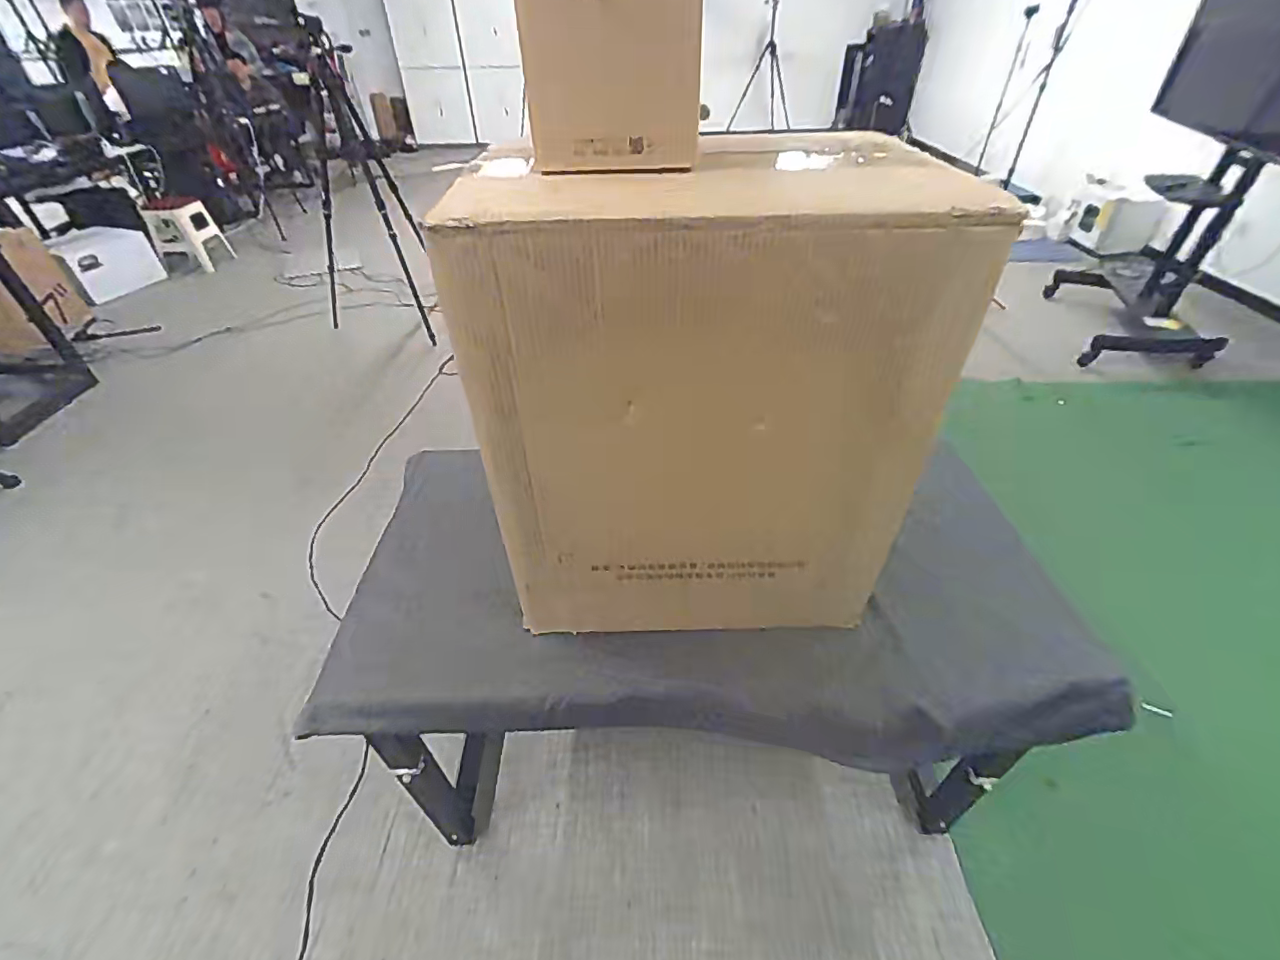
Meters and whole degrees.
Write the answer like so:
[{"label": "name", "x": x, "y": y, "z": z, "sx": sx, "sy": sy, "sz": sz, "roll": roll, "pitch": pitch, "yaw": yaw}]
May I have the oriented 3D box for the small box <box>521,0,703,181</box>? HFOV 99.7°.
[{"label": "small box", "x": -0.023, "y": -0.427, "z": 0.574, "sx": 0.168, "sy": 0.176, "sz": 0.179, "roll": -1, "pitch": 39, "yaw": 2}]
